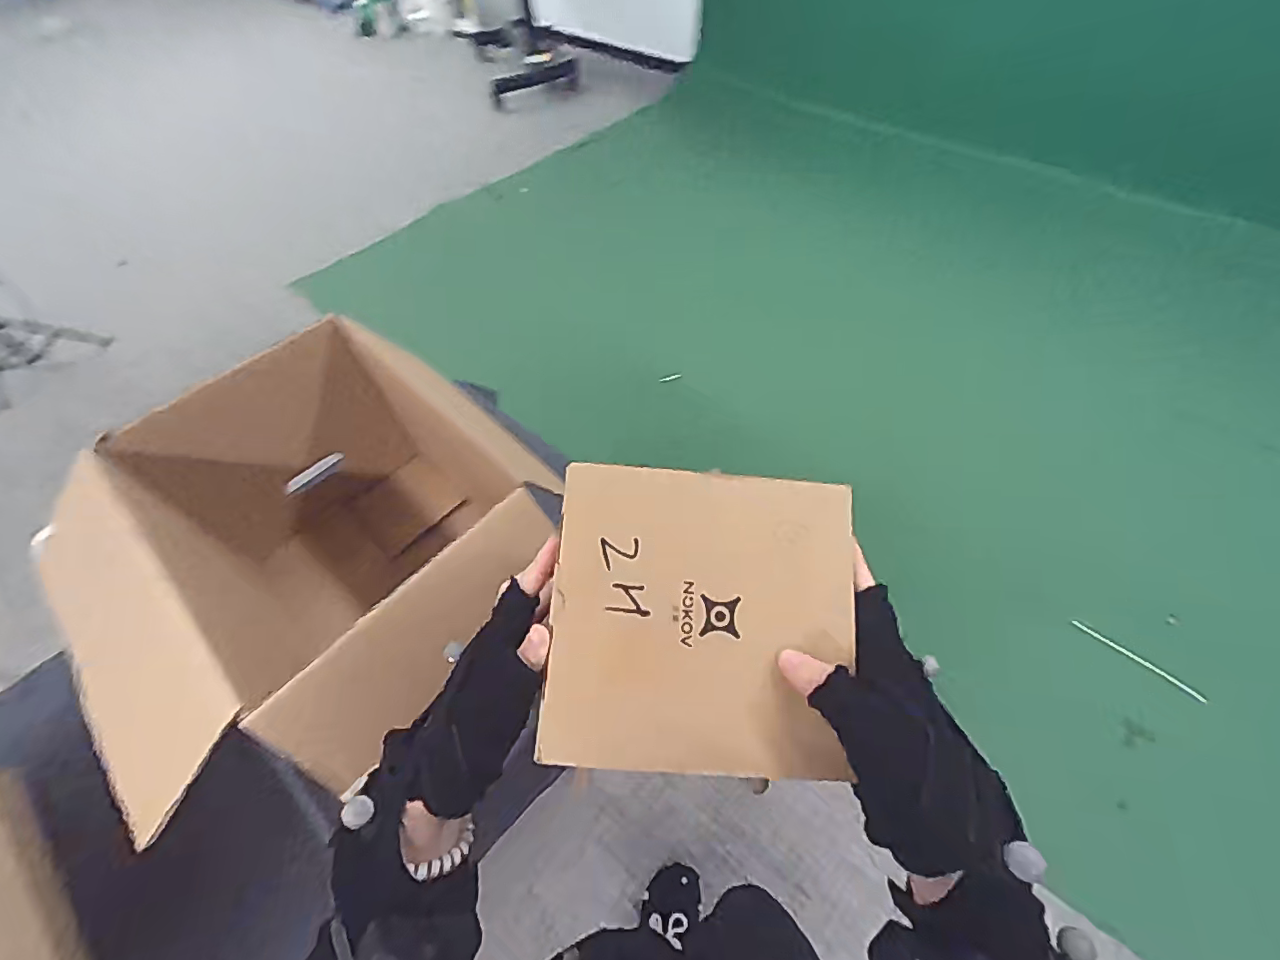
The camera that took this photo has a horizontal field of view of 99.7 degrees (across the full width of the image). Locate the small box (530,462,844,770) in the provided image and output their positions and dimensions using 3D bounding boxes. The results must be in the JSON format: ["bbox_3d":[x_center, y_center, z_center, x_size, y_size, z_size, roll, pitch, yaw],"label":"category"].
[{"bbox_3d":[0.026,0.095,0.391,0.179,0.176,0.168,5,74,-3],"label":"small box"}]
